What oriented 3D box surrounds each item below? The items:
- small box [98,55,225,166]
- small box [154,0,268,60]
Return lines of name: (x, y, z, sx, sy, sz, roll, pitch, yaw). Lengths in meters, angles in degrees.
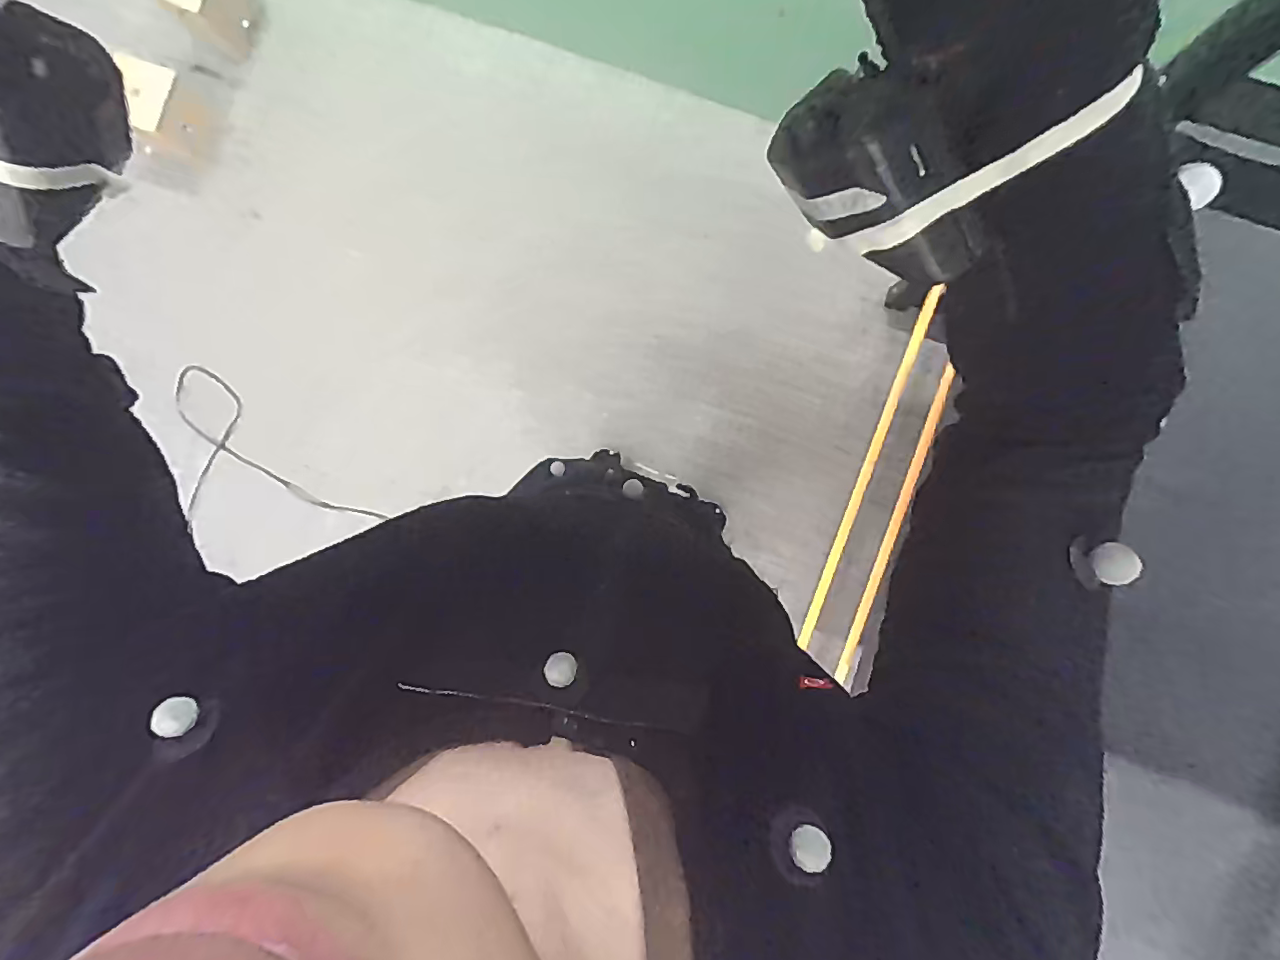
small box: (-1.289, -0.992, 1.470, 0.179, 0.176, 0.168, 20, 91, 4)
small box: (-1.169, -1.295, 1.462, 0.179, 0.176, 0.168, 24, 92, 2)
